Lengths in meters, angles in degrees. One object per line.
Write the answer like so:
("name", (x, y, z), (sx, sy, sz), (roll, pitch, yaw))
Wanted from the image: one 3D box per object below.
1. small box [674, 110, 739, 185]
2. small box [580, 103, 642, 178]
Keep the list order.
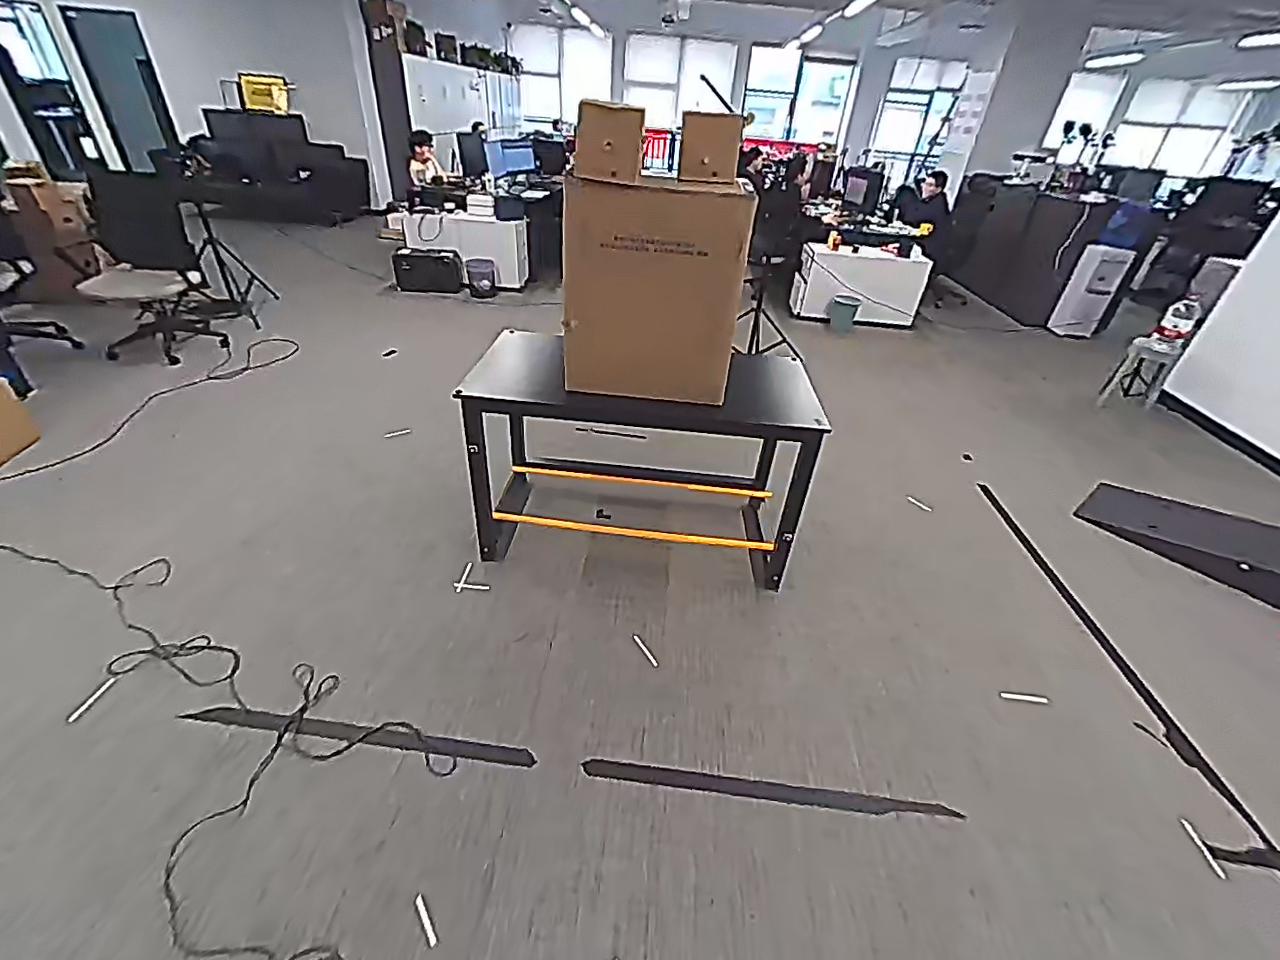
("small box", (0.187, -0.968, 1.575), (0.168, 0.176, 0.179), (3, 34, 0))
("small box", (-0.085, -0.997, 1.589), (0.168, 0.176, 0.179), (5, 34, 0))
